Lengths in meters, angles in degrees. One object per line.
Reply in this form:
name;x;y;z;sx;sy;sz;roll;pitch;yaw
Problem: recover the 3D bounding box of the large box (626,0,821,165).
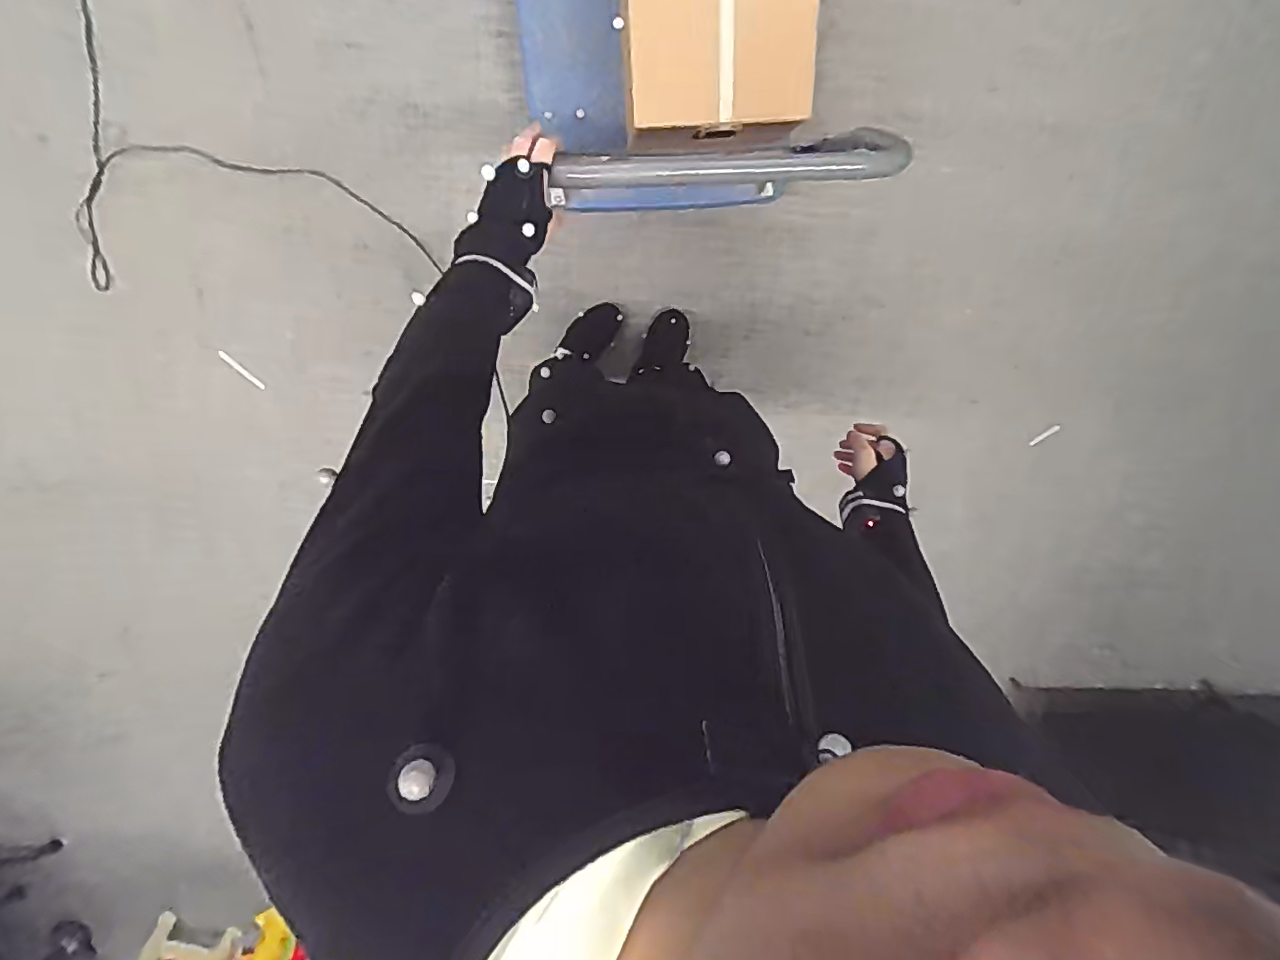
large box;0.134;-0.848;1.005;0.320;0.320;0.408;-4;111;-2
